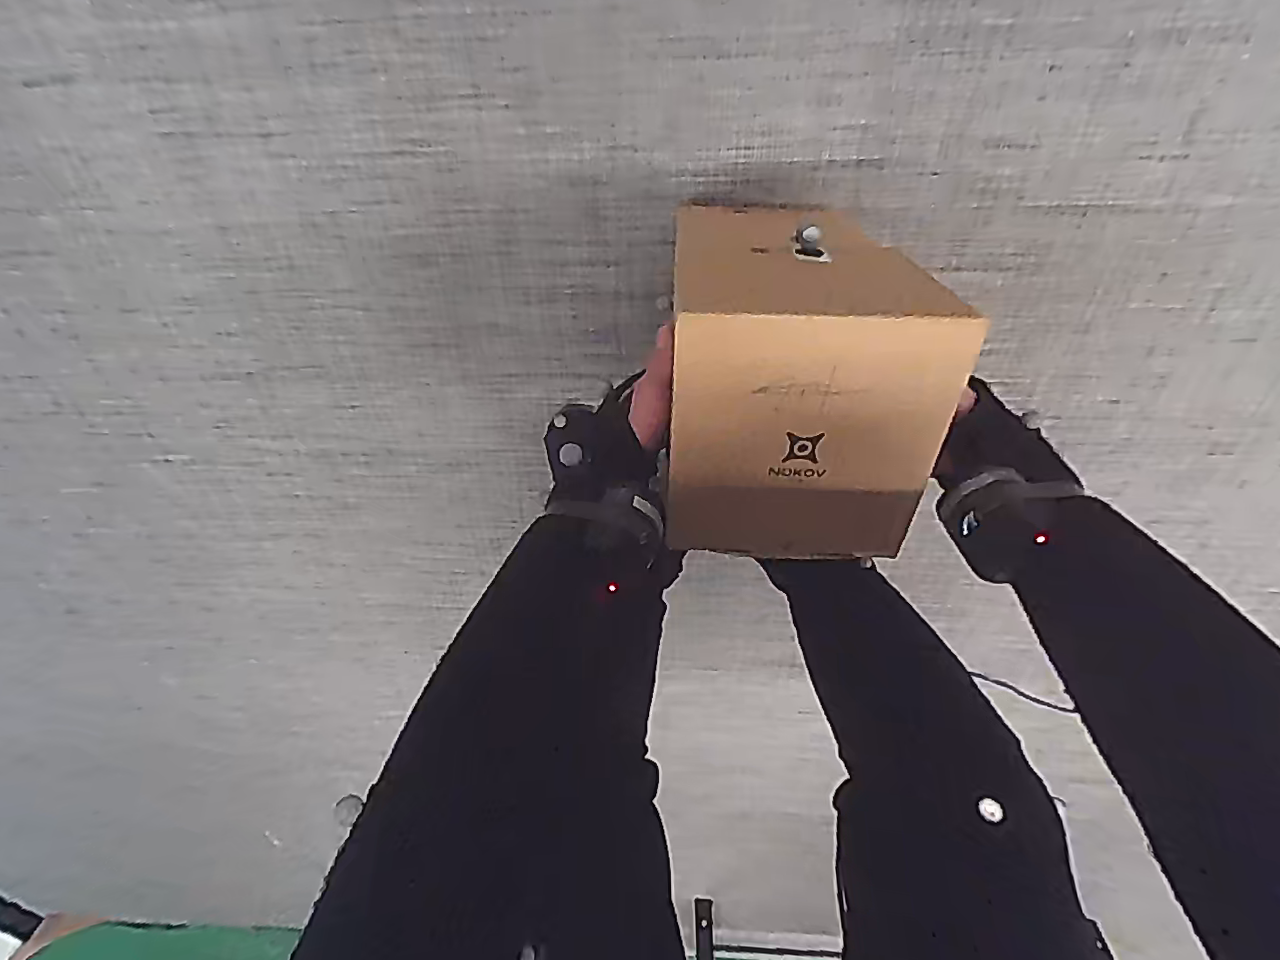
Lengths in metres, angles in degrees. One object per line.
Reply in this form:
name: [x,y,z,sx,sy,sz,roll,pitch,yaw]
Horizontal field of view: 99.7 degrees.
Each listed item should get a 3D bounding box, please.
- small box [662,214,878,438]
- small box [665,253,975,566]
small box: [0.113,-0.151,0.542,0.168,0.176,0.179,4,126,1]
small box: [0.104,-0.058,0.406,0.168,0.176,0.179,1,125,2]
